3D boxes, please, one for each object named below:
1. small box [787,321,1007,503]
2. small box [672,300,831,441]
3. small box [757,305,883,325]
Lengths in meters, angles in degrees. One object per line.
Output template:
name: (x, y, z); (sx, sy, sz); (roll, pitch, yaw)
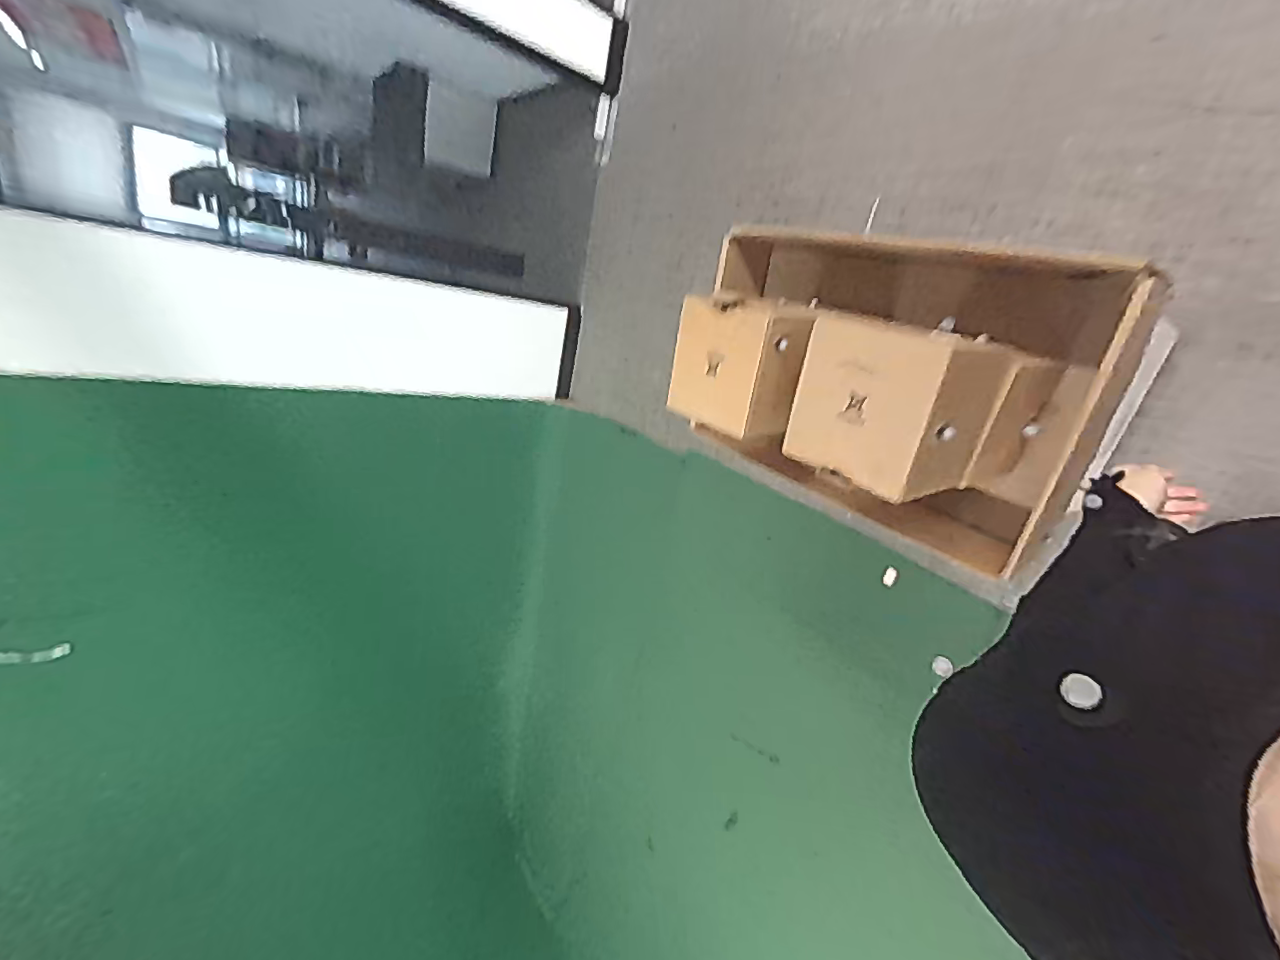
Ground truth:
small box: (0.316, -0.092, 0.672); (0.168, 0.176, 0.179); (32, 121, 45)
small box: (0.175, -0.173, 0.840); (0.168, 0.176, 0.179); (30, 119, 44)
small box: (0.299, -0.200, 0.943); (0.168, 0.176, 0.179); (31, 122, 42)
